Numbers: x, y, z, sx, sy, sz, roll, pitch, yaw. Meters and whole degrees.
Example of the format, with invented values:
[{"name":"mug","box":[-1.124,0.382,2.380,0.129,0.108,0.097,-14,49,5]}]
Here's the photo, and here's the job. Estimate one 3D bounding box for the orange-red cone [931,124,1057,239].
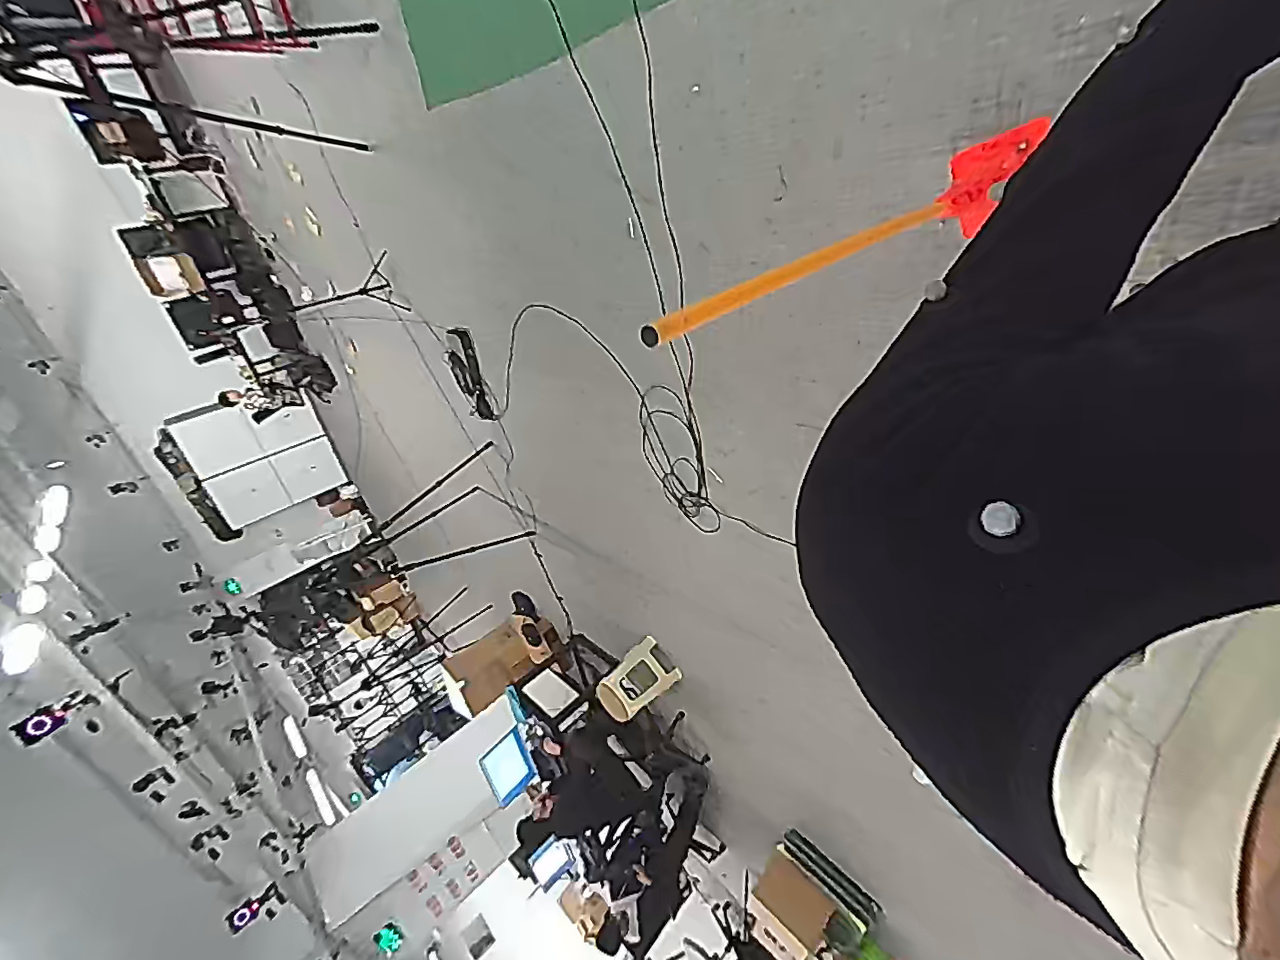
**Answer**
[{"name":"orange-red cone","box":[0.717,-0.608,1.160,0.199,0.360,0.198,4,118,53]}]
